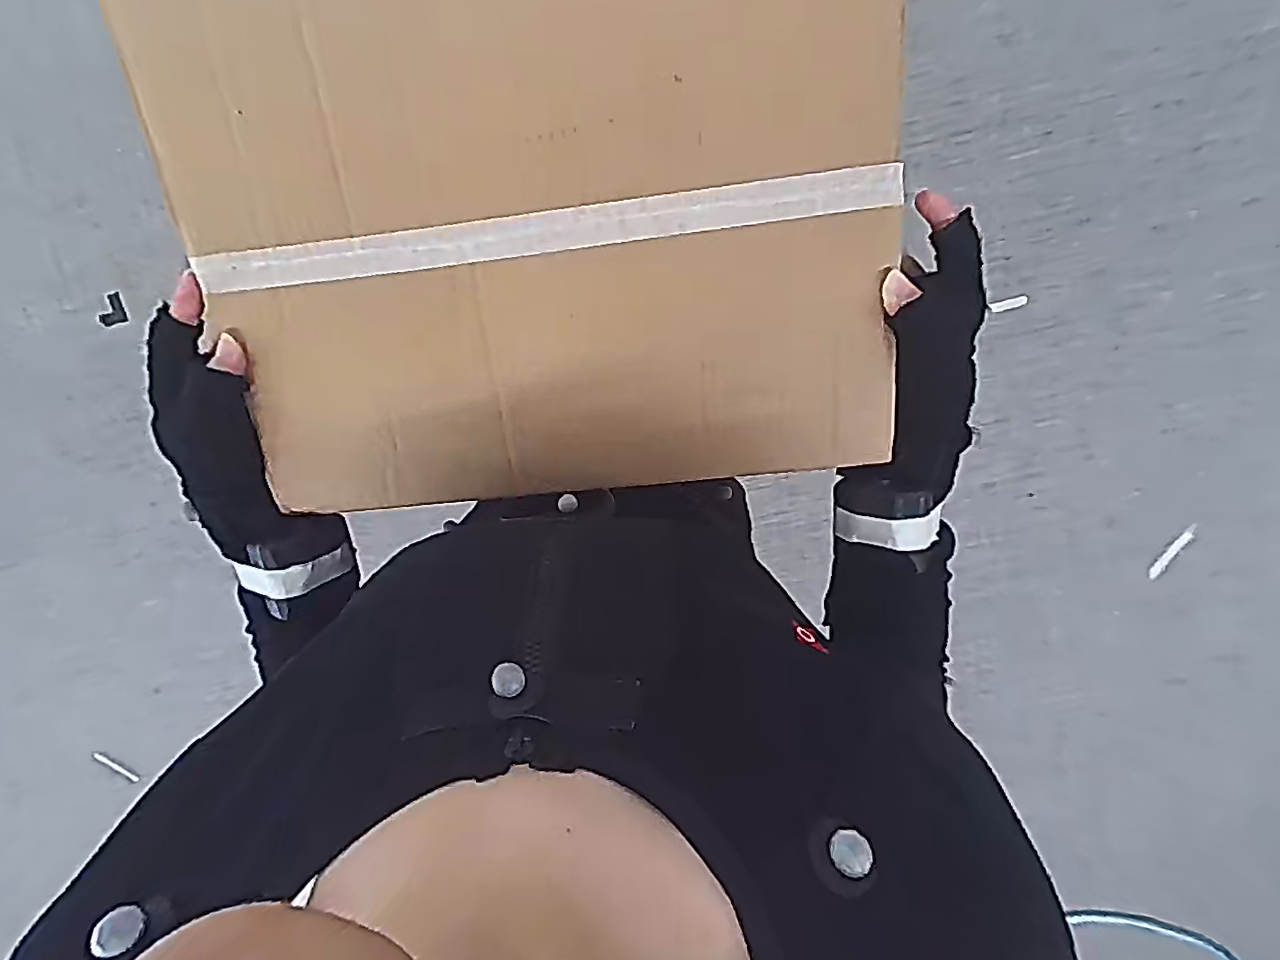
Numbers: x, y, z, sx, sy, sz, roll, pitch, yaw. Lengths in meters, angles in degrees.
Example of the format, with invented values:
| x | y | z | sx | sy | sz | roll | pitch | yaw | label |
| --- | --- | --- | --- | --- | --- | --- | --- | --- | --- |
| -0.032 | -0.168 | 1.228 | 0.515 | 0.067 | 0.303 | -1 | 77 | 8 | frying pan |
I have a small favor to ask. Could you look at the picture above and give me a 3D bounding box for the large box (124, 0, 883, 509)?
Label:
| x | y | z | sx | sy | sz | roll | pitch | yaw | label |
| --- | --- | --- | --- | --- | --- | --- | --- | --- | --- |
| -0.054 | -0.191 | 0.458 | 0.408 | 0.320 | 0.320 | -5 | 108 | 4 | large box |
